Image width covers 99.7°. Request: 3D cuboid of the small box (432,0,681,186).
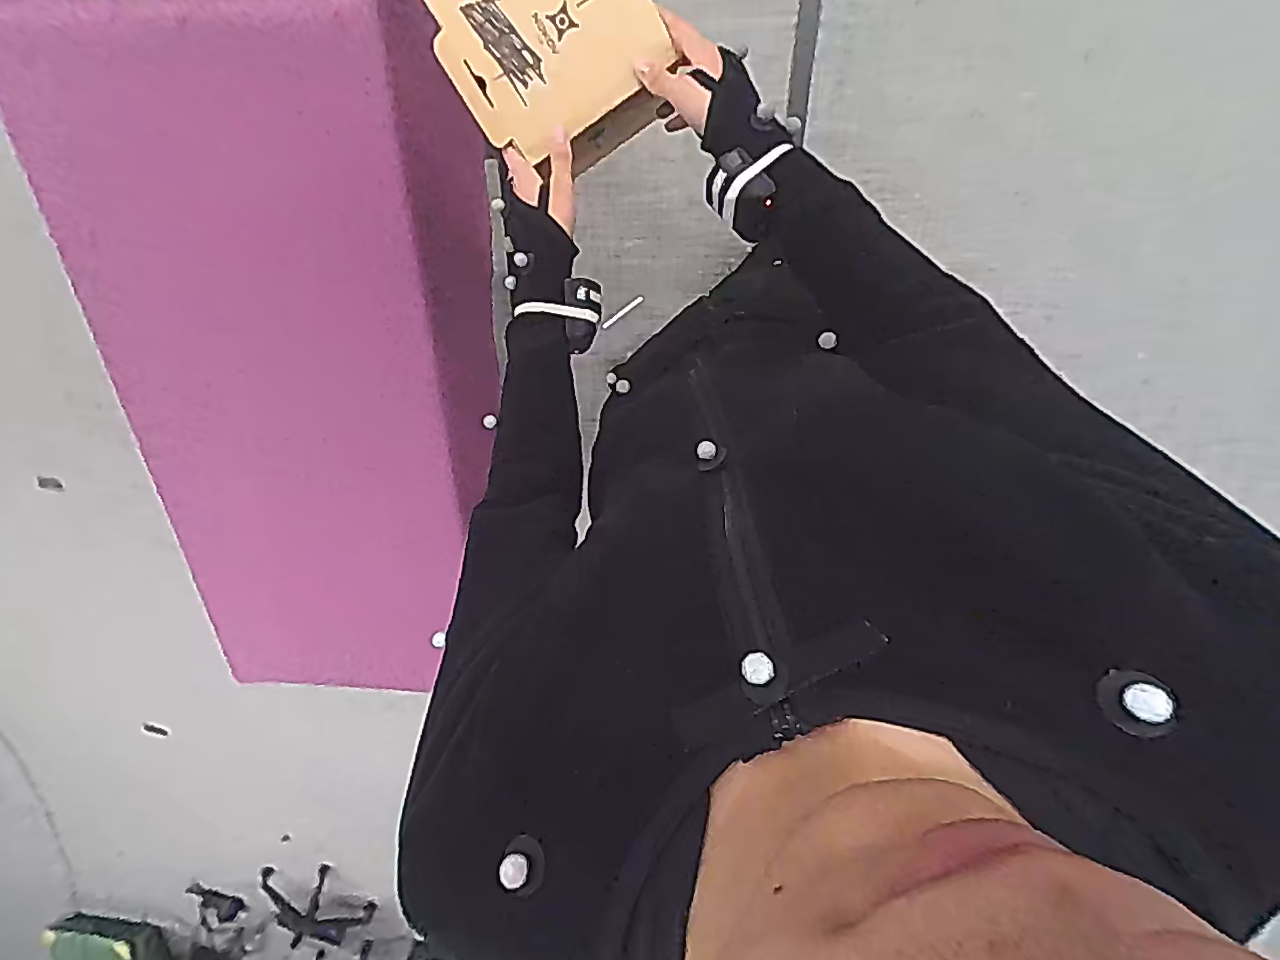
[{"bbox_3d":[-0.077,-0.440,0.564,0.179,0.176,0.168,-31,108,8],"label":"small box"}]
